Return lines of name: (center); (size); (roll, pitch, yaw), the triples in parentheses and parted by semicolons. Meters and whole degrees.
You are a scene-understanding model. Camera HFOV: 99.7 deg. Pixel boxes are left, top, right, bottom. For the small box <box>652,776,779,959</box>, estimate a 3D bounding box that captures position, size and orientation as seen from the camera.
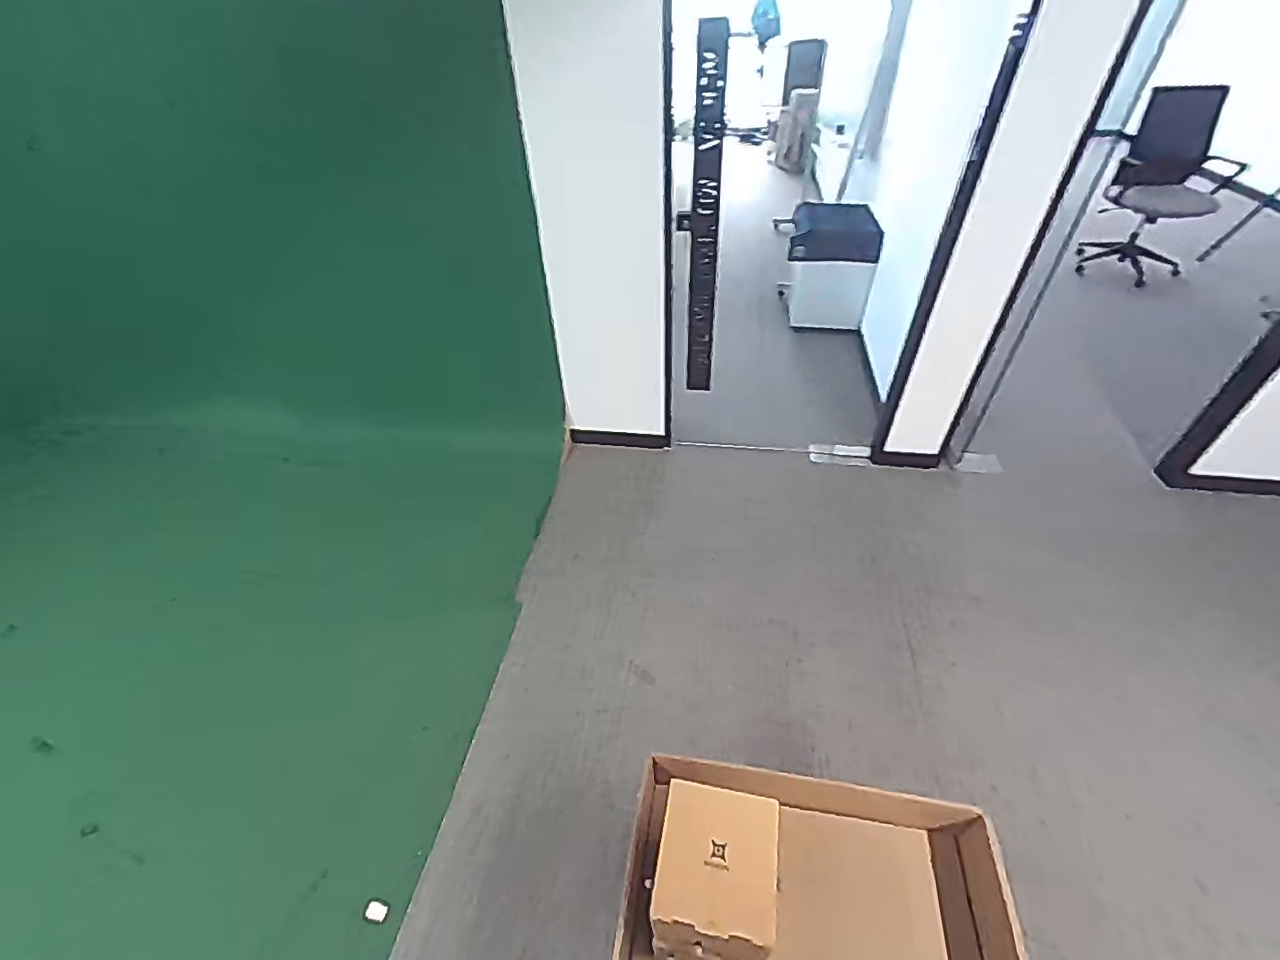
small box: (0.113, 0.584, 0.814); (0.168, 0.176, 0.179); (6, 43, 10)
